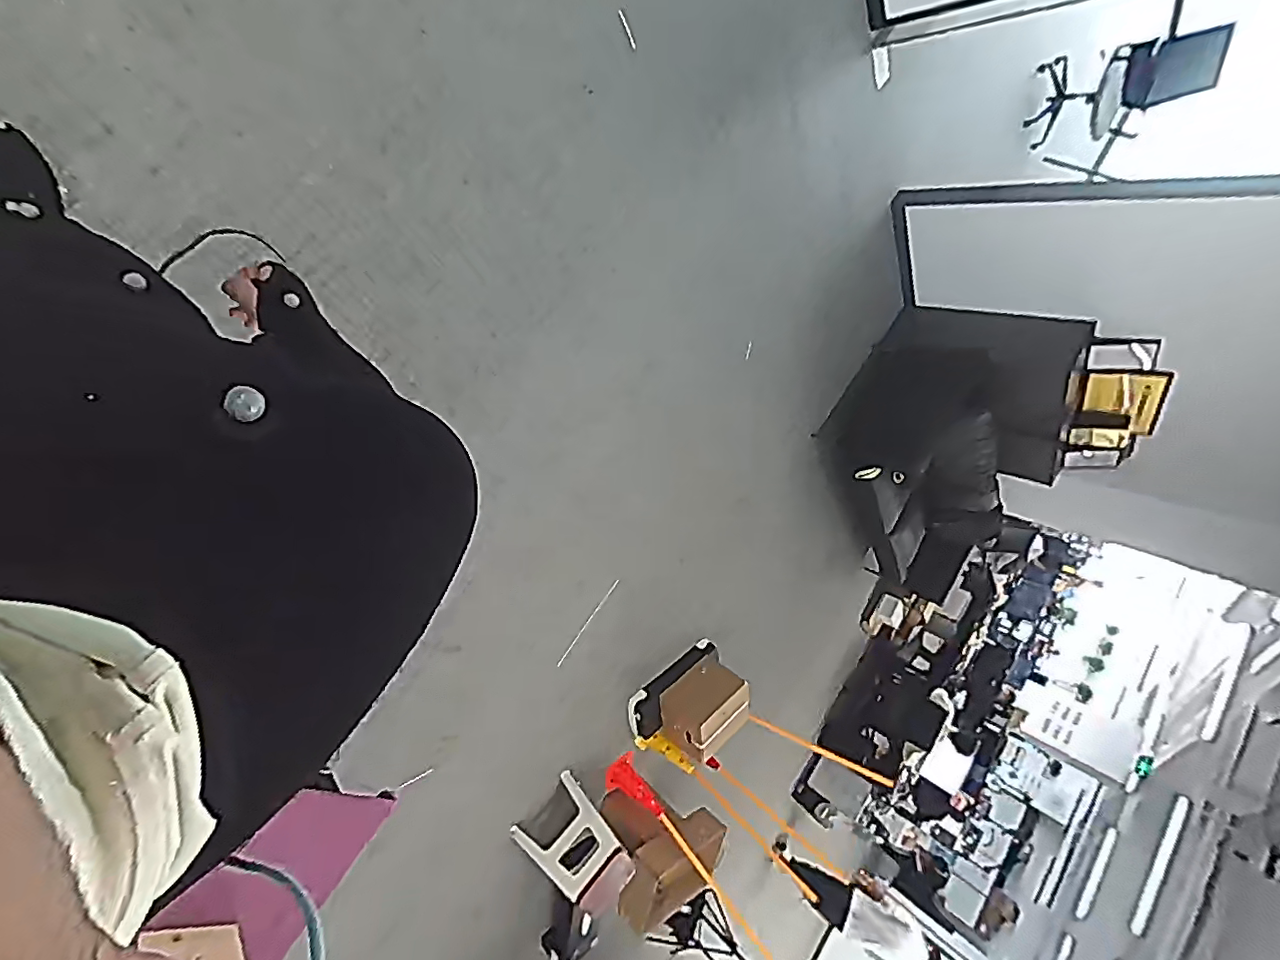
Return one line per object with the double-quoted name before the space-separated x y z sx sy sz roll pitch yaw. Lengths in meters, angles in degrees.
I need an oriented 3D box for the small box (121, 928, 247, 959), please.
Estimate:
"small box" -0.765 0.865 0.868 0.179 0.176 0.168 -56 137 -12
